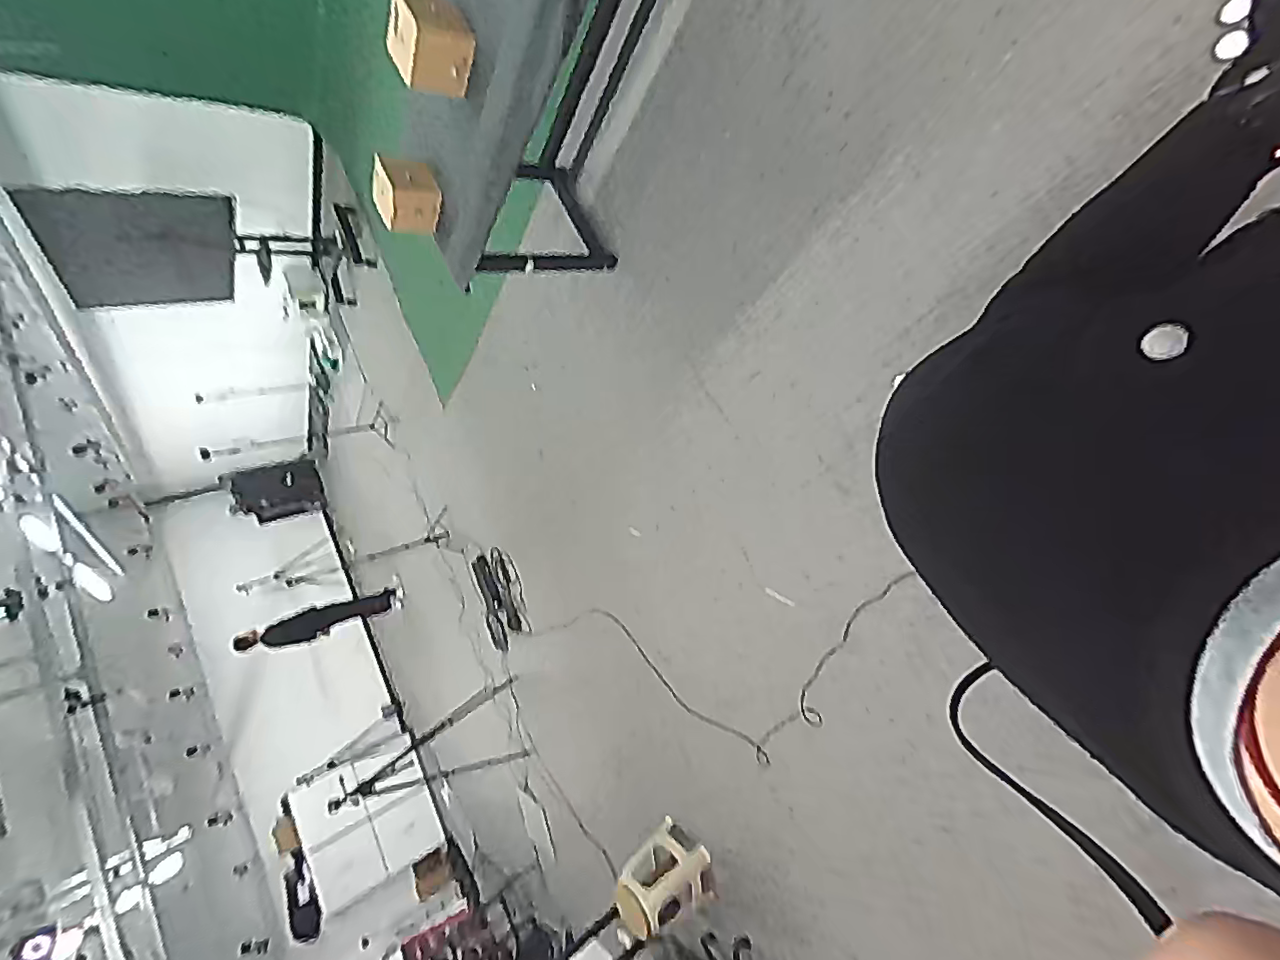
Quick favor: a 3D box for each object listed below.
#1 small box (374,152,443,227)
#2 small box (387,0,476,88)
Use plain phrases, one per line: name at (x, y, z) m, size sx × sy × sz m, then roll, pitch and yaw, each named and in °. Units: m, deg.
small box at (-0.817, -1.023, 1.910) m, size 0.179 × 0.176 × 0.168 m, roll 60°, pitch 141°, yaw 14°
small box at (-0.590, -1.249, 1.526) m, size 0.179 × 0.176 × 0.168 m, roll 61°, pitch 142°, yaw 13°
